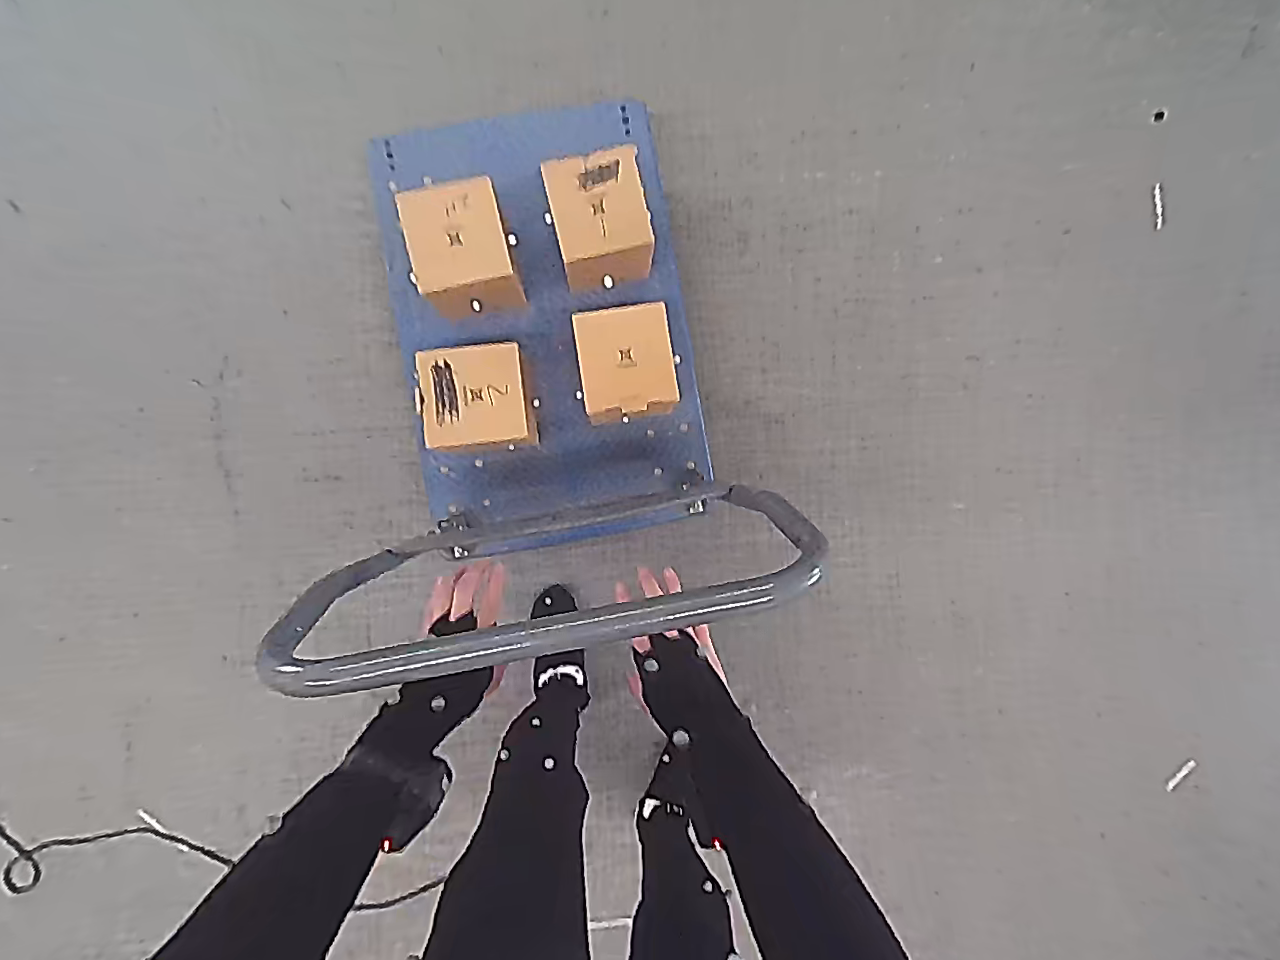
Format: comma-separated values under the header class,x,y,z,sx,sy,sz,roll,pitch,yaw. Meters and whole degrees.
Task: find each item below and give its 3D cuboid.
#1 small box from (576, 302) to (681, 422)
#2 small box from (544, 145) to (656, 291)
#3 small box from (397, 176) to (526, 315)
class,x,y,z,sx,sy,sz,roll,pitch,yaw
small box,-0.026,-0.213,1.015,0.168,0.176,0.179,-9,91,-3
small box,-0.073,-0.480,1.012,0.168,0.176,0.179,-13,92,-2
small box,-0.318,-0.419,0.999,0.168,0.176,0.179,-13,91,-4
